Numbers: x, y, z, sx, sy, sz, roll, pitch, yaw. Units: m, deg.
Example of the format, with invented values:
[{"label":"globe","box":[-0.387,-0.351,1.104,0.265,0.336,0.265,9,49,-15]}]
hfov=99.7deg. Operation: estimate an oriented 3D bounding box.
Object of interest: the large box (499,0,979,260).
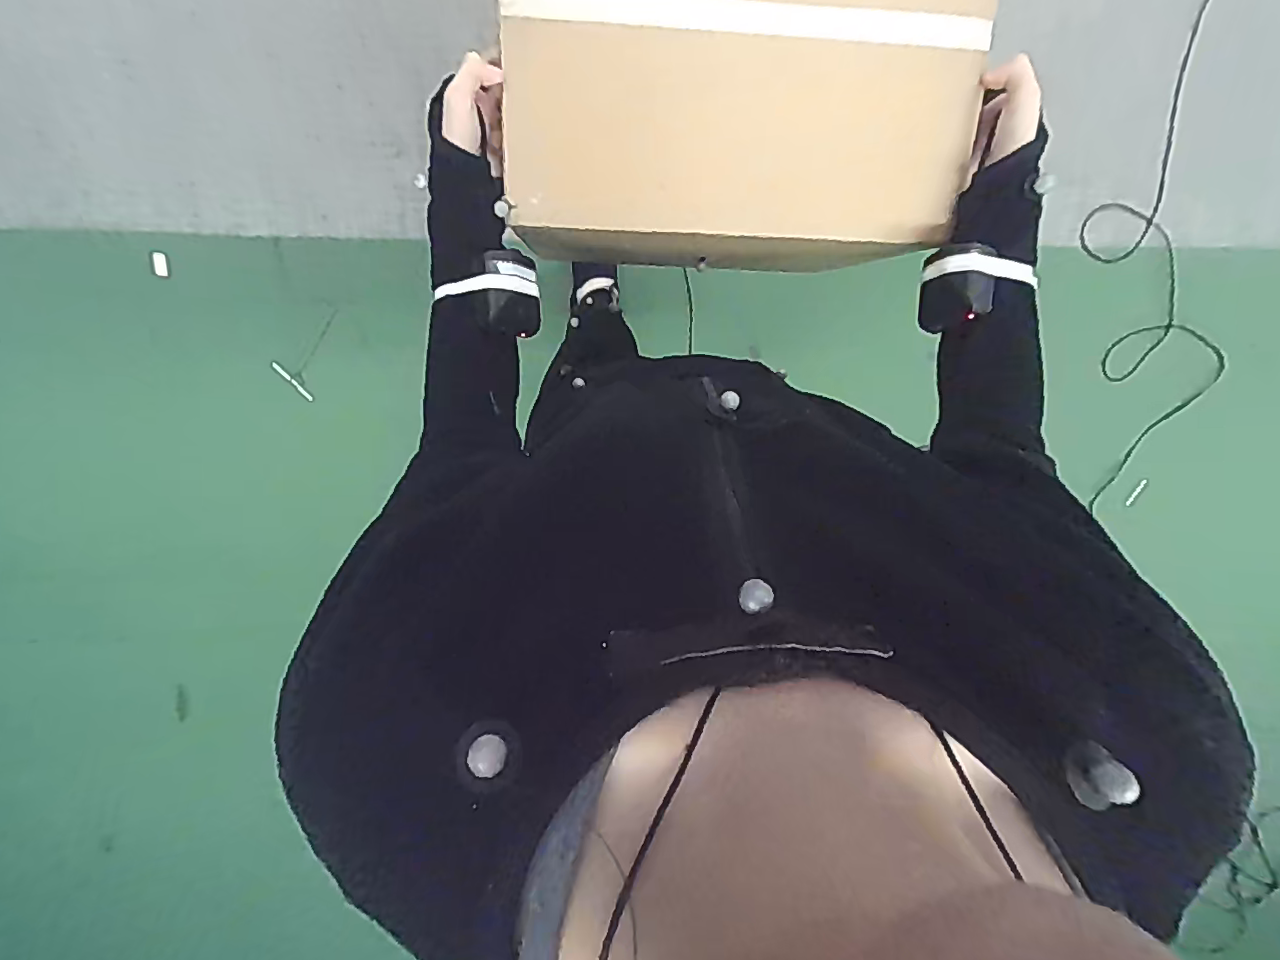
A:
[{"label":"large box","box":[0.077,-0.418,0.590,0.408,0.320,0.320,0,106,-4]}]
